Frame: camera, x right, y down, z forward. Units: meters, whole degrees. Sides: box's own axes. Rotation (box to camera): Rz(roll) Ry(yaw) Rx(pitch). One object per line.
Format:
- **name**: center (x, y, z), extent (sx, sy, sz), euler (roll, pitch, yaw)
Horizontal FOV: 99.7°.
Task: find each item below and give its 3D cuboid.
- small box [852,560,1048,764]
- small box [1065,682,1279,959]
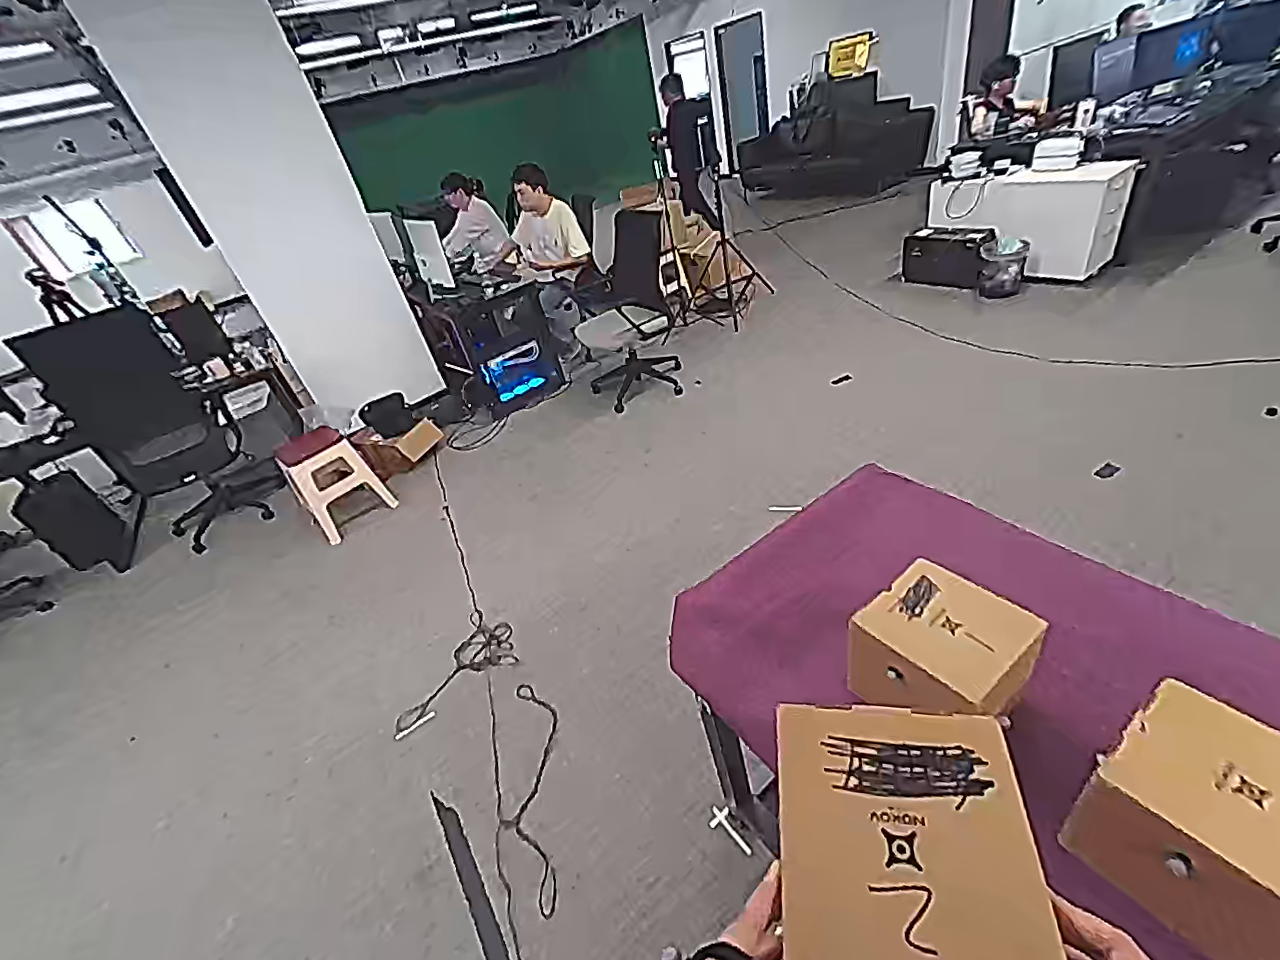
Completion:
- **small box**: center (0.420, 0.253, 0.762), extent (0.168, 0.176, 0.179), euler (-31, 39, -22)
- **small box**: center (0.589, 0.358, 0.557), extent (0.168, 0.176, 0.179), euler (-31, 37, -21)
